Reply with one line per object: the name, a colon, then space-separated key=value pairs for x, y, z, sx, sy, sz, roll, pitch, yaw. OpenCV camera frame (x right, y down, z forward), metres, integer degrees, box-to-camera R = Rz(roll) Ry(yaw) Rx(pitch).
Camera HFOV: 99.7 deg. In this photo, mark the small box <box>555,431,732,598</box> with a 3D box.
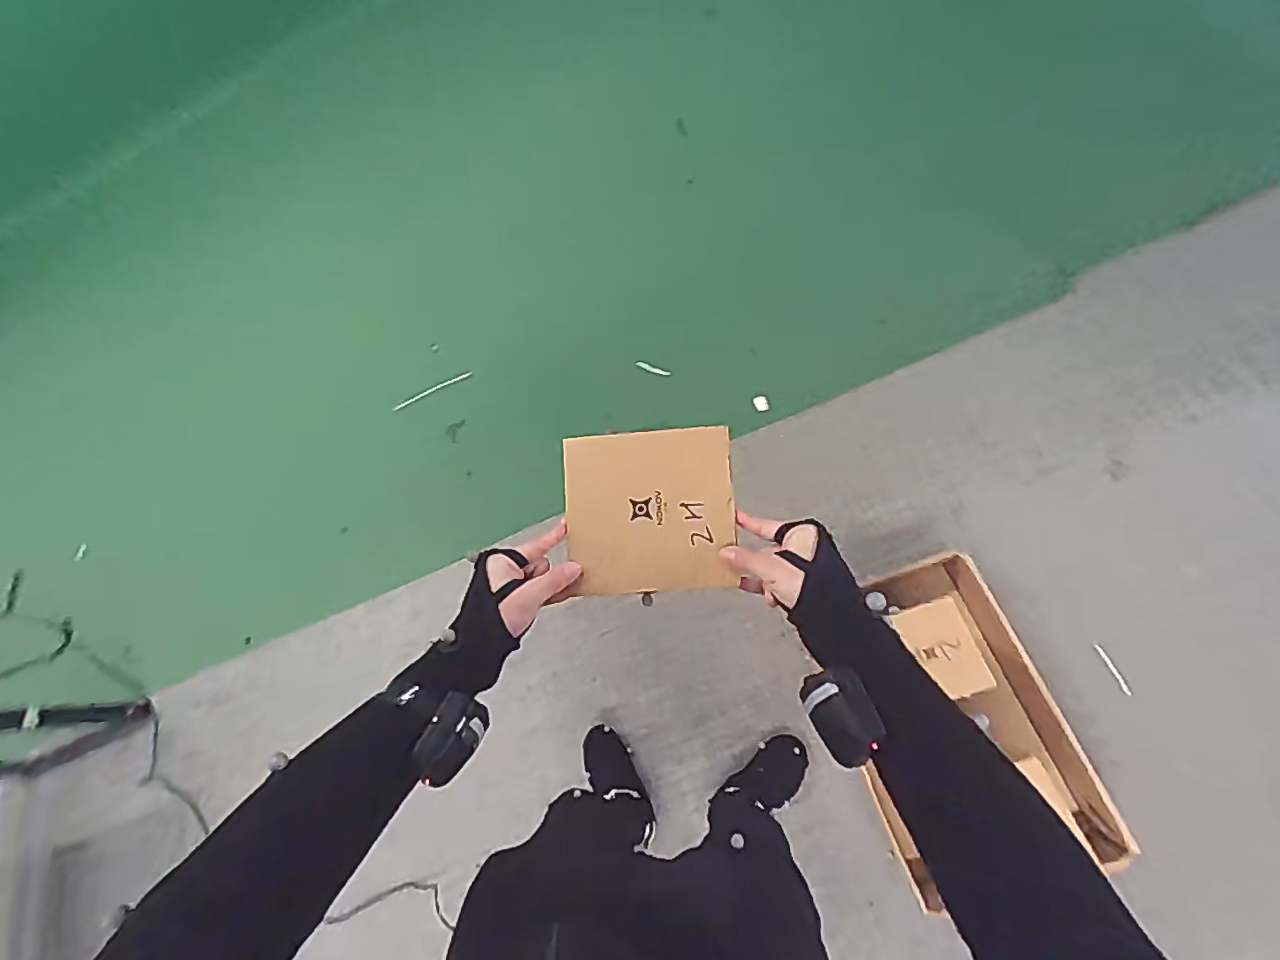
small box: x=0.009 y=0.049 z=0.624 sx=0.179 sy=0.176 sz=0.168 roll=-4 pitch=80 yaw=5
